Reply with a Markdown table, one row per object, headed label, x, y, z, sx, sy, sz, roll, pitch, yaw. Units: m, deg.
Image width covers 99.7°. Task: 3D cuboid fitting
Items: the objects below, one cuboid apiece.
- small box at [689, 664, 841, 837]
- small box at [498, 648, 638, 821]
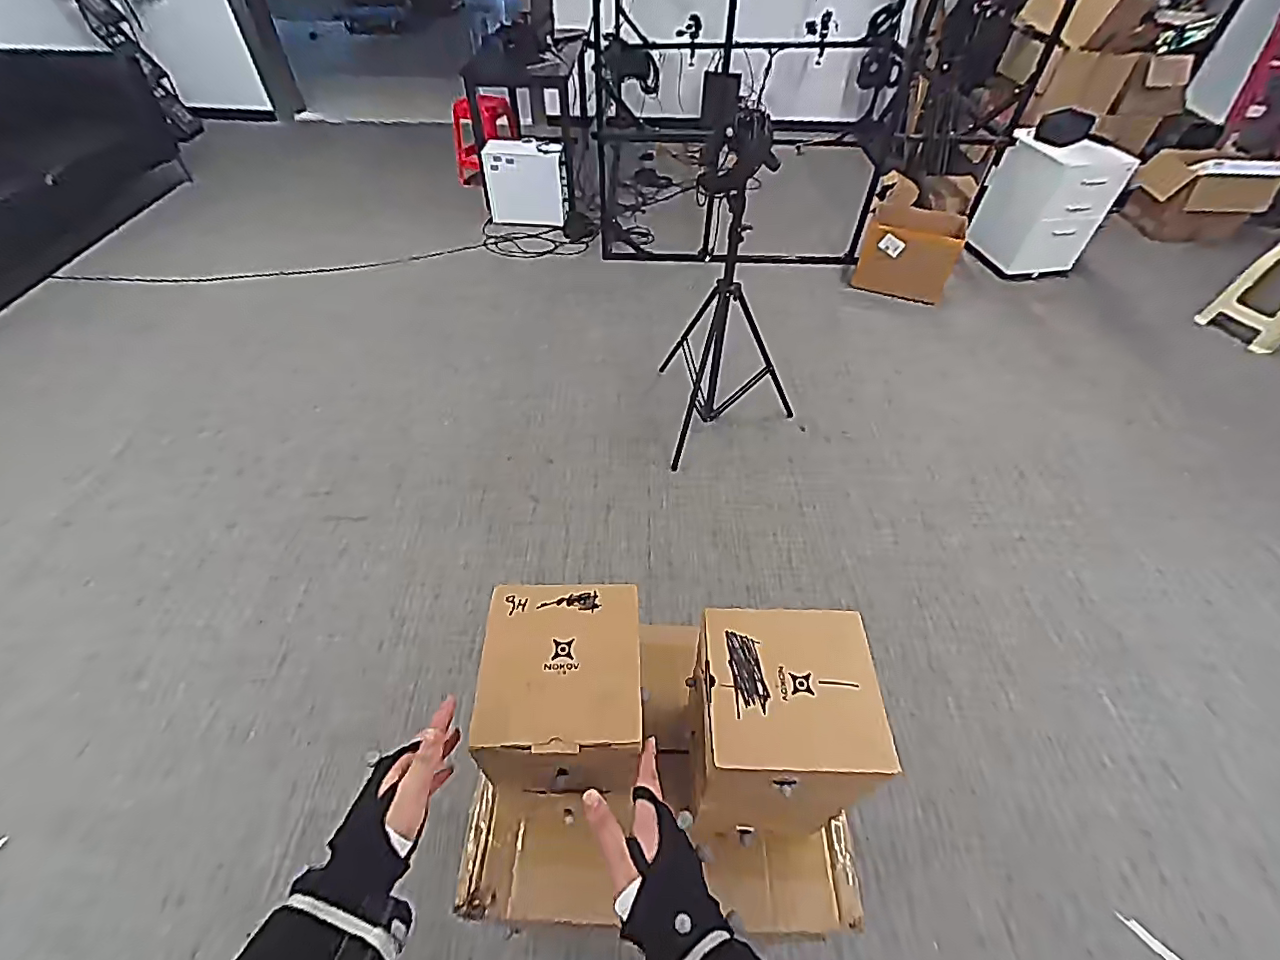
| label | x | y | z | sx | sy | sz | roll | pitch | yaw |
| --- | --- | --- | --- | --- | --- | --- | --- | --- | --- |
| small box | 0.155 | 0.370 | 0.739 | 0.168 | 0.176 | 0.179 | 0 | 50 | 2 |
| small box | -0.088 | 0.353 | 0.748 | 0.168 | 0.176 | 0.179 | 1 | 49 | -1 |
